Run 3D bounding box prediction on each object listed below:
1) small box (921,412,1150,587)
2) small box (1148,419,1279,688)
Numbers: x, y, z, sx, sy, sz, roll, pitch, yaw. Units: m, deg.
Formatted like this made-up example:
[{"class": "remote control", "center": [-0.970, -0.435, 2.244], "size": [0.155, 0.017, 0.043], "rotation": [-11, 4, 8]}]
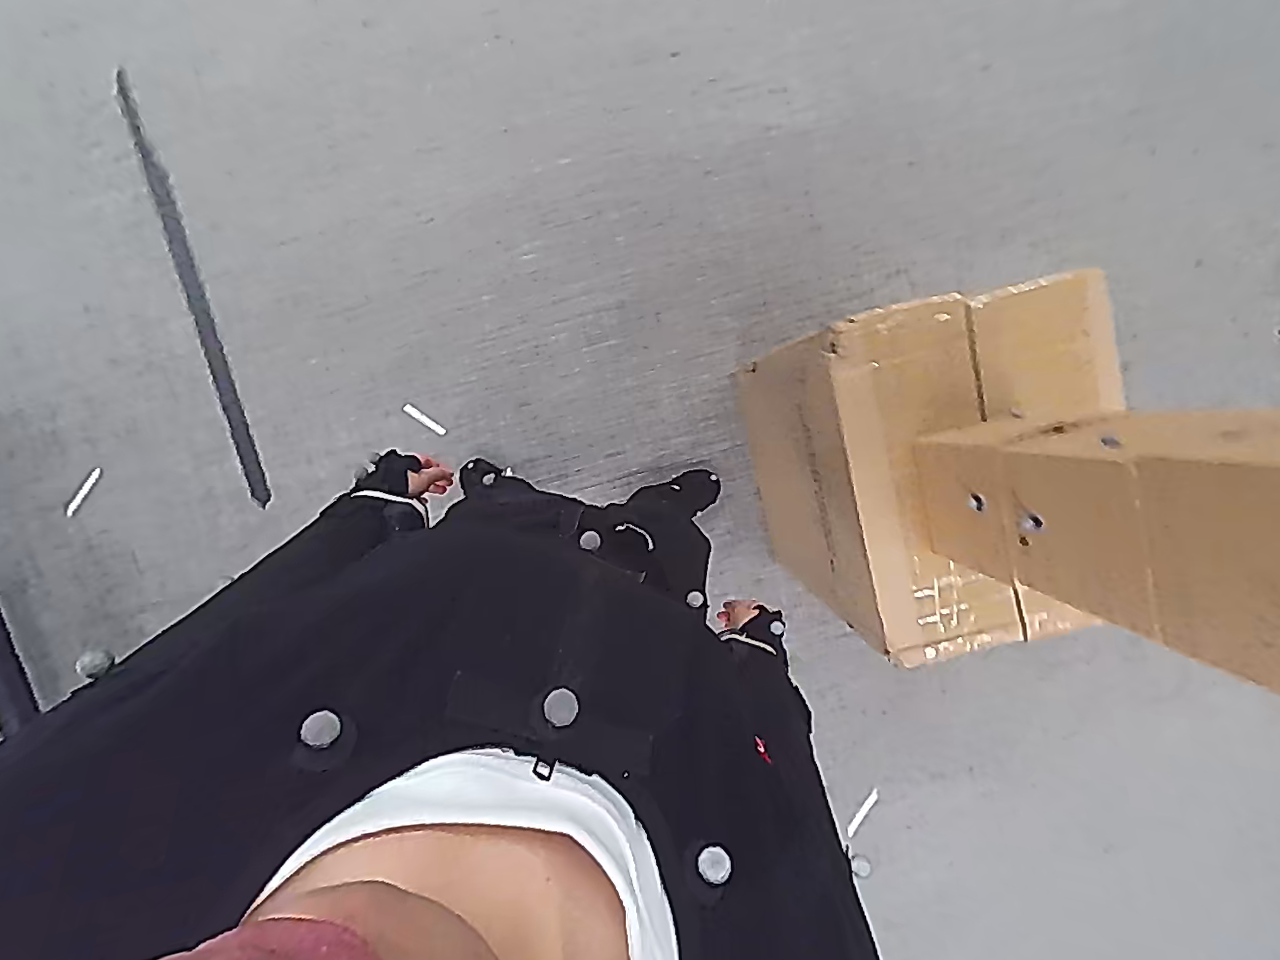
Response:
[{"class": "small box", "center": [0.492, 0.016, 0.699], "size": [0.168, 0.176, 0.179], "rotation": [-13, 97, 0]}, {"class": "small box", "center": [0.510, 0.051, 0.372], "size": [0.168, 0.176, 0.179], "rotation": [-13, 96, 0]}]
